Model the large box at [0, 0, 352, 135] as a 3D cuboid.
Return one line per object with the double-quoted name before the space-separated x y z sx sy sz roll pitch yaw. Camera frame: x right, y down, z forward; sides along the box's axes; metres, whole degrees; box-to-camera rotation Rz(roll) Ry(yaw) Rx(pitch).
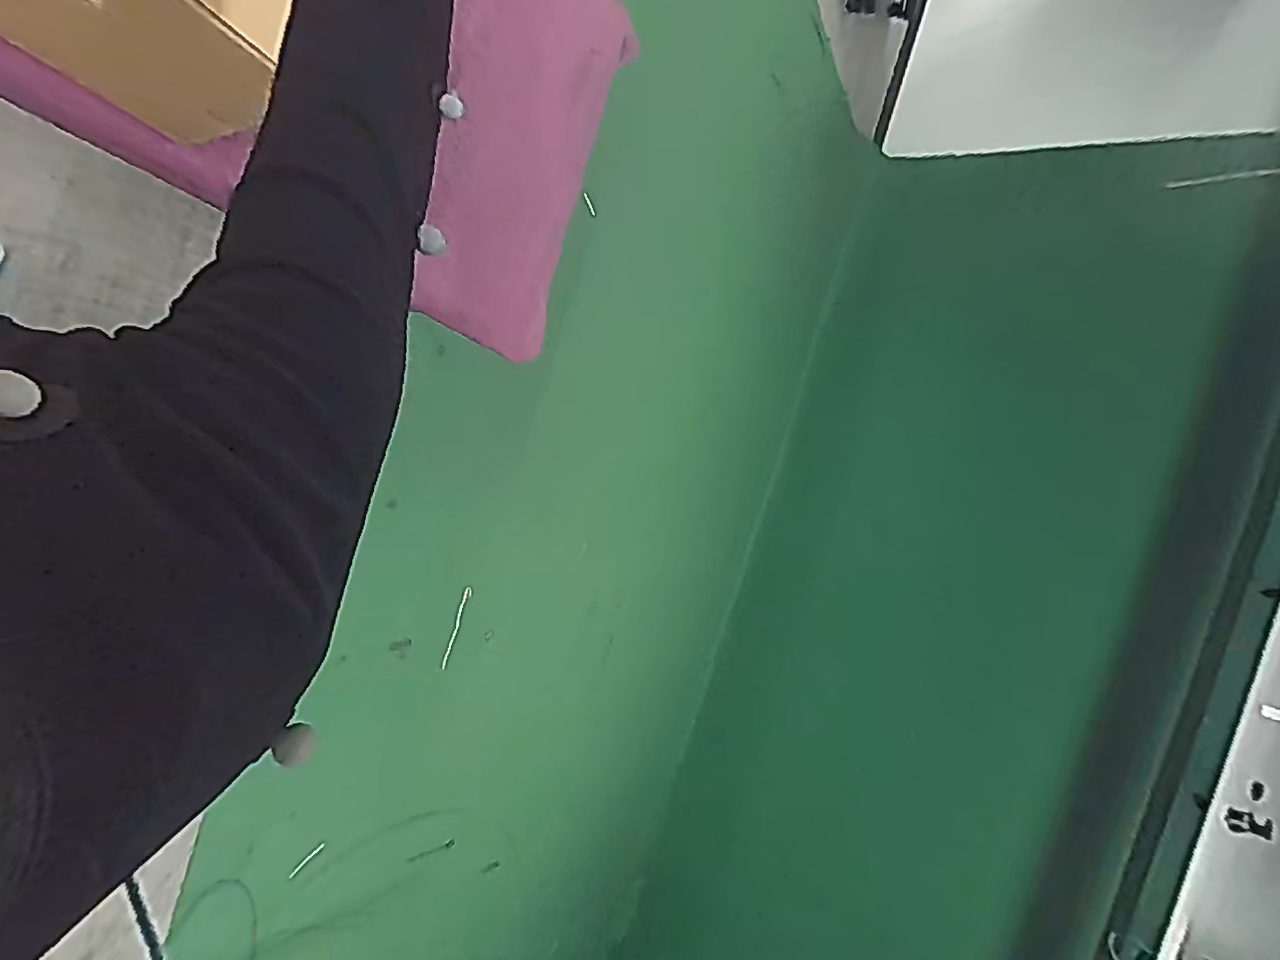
"large box" -0.382 -0.538 0.370 0.320 0.320 0.408 22 87 -56
